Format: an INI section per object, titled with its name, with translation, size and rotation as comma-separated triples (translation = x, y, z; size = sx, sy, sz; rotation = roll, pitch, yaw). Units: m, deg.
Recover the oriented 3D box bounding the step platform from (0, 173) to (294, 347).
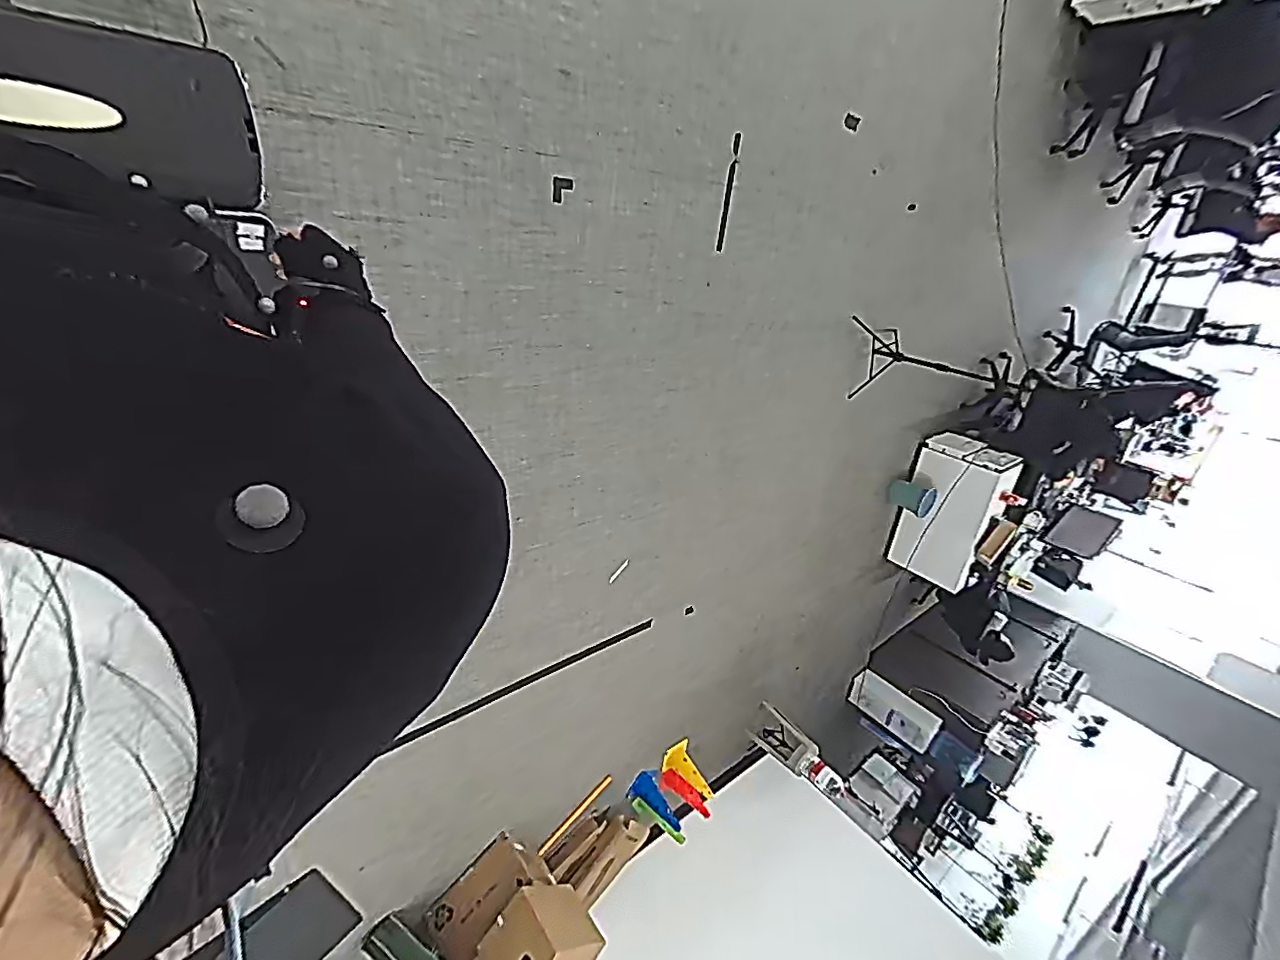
[step platform]
translation = -1.065, -0.416, 1.028
size = 0.684, 0.204, 0.286
rotation = -15, 121, -35
